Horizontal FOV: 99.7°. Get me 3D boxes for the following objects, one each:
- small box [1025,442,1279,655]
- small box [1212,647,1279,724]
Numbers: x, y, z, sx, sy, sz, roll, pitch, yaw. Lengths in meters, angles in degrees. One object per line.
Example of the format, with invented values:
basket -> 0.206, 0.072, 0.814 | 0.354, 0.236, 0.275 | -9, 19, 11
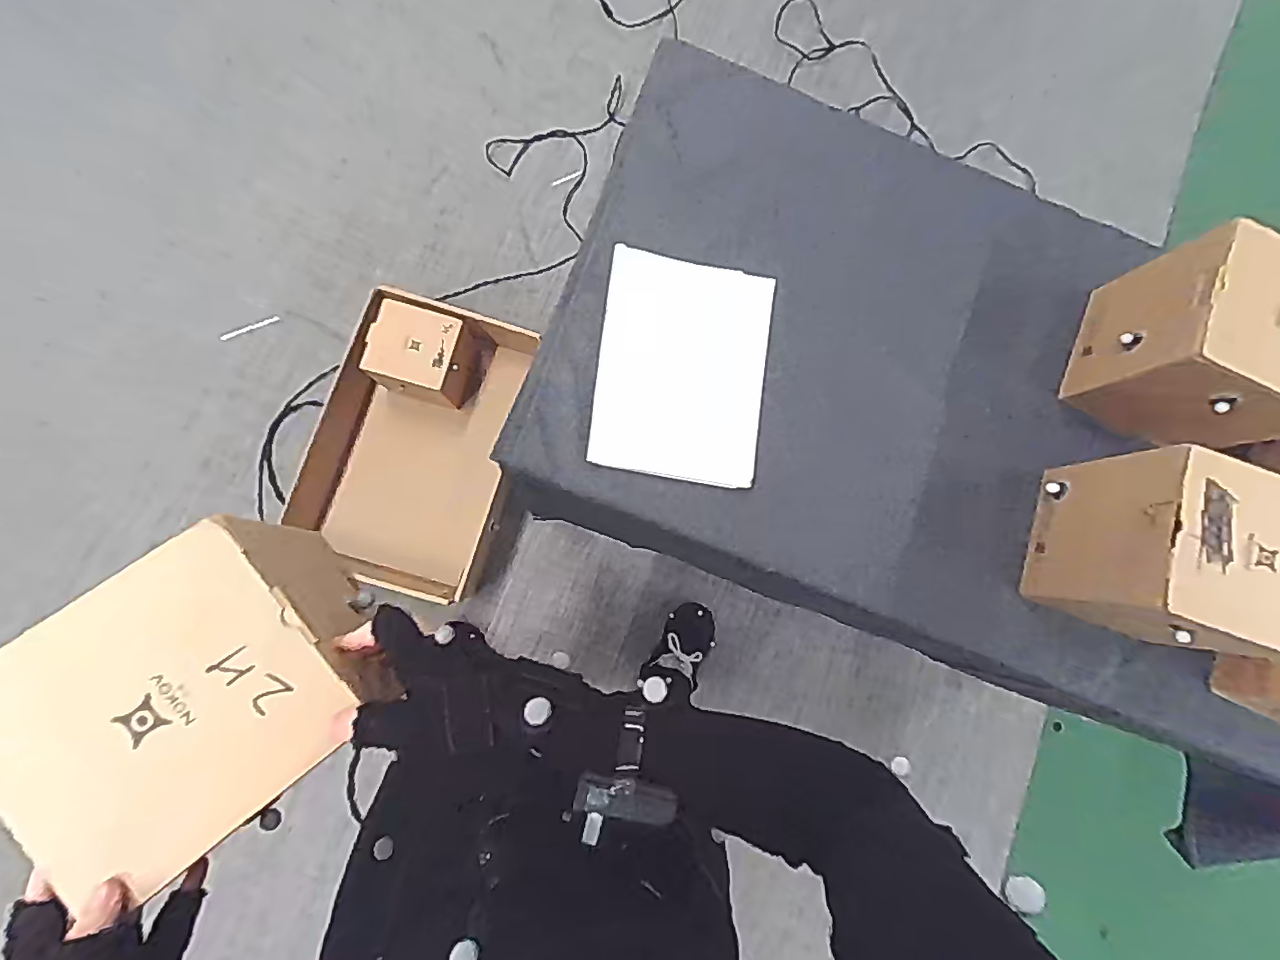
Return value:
small box -> 0.567, 0.078, 0.584 | 0.179, 0.176, 0.168 | 20, 81, -3
small box -> 0.800, 0.197, 0.592 | 0.168, 0.176, 0.179 | 25, 80, -1
